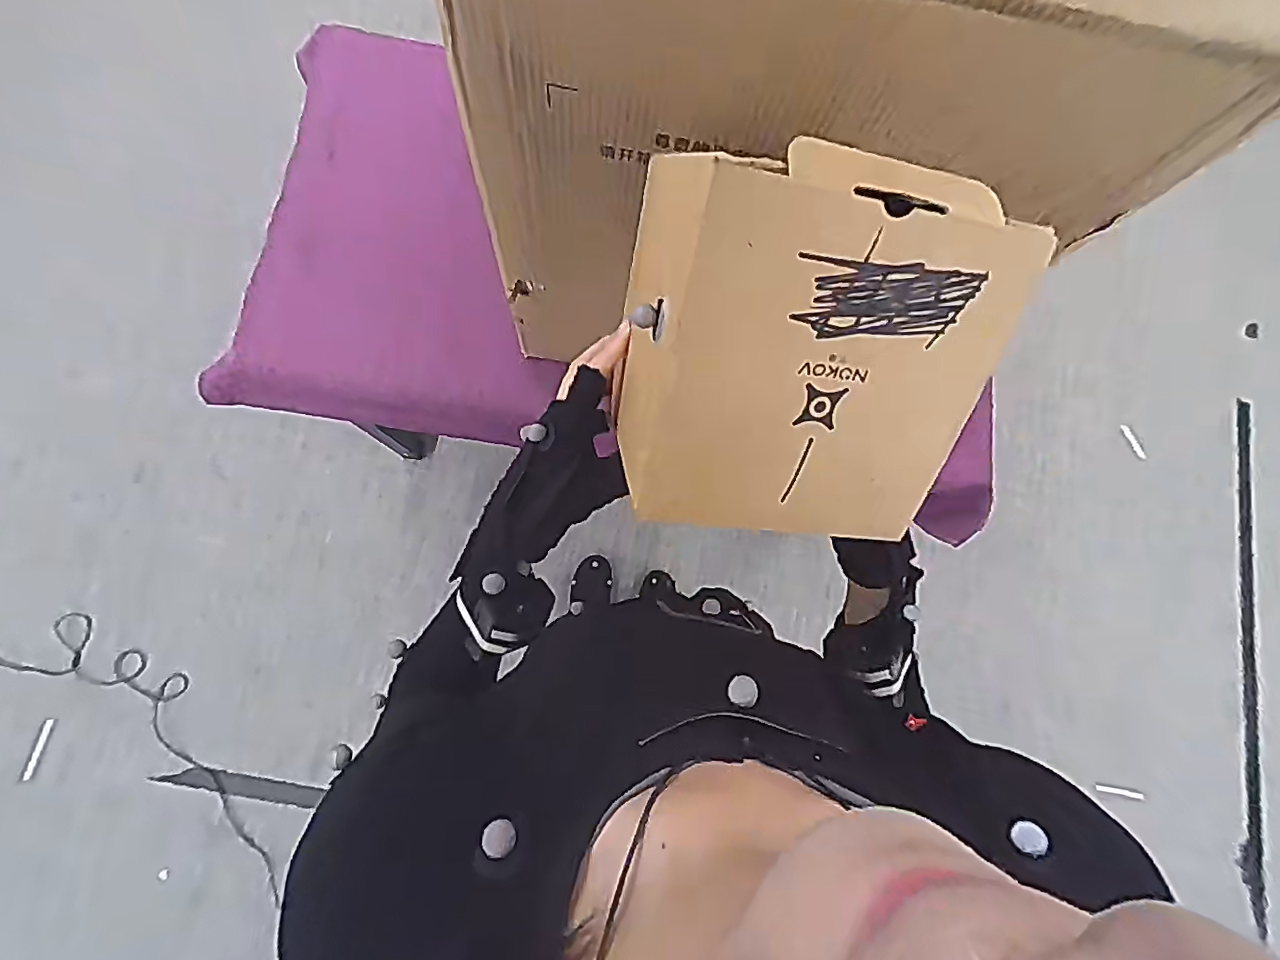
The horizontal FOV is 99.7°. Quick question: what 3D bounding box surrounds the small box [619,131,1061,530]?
[{"bbox_3d":[0.085,-0.092,0.333,0.168,0.176,0.179,5,119,-12],"label":"small box"}]
